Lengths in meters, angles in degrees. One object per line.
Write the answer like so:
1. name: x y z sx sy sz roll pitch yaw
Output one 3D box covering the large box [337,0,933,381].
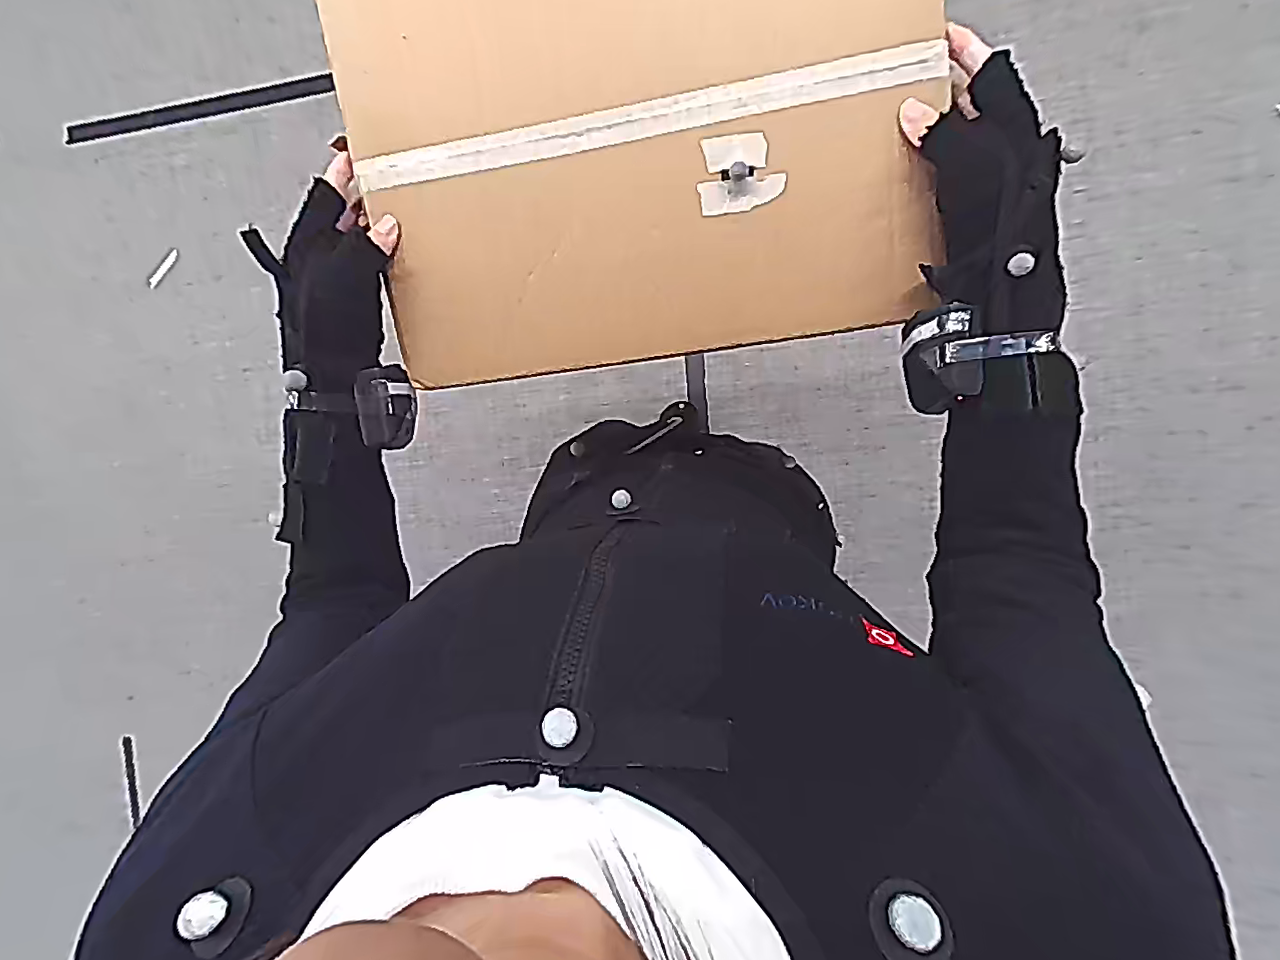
1. large box: 0.009 -0.288 0.529 0.408 0.320 0.320 -7 104 7
